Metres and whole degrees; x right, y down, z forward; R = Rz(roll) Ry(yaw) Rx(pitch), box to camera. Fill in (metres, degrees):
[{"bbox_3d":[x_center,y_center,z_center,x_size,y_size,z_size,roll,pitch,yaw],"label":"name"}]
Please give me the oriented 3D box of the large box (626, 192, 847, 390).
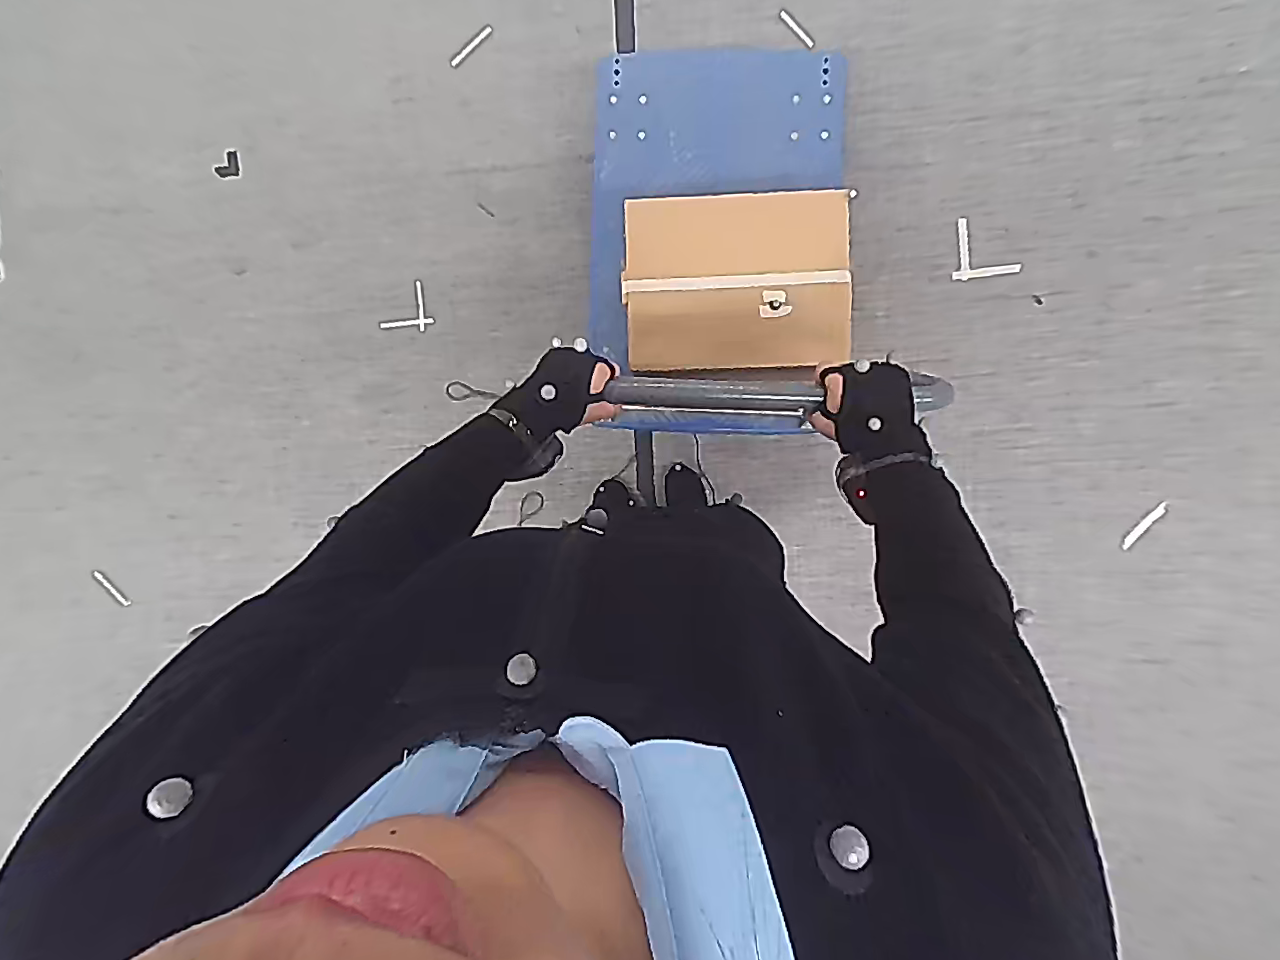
[{"bbox_3d":[0.183,-0.372,1.147,0.408,0.320,0.320,-2,94,2],"label":"large box"}]
